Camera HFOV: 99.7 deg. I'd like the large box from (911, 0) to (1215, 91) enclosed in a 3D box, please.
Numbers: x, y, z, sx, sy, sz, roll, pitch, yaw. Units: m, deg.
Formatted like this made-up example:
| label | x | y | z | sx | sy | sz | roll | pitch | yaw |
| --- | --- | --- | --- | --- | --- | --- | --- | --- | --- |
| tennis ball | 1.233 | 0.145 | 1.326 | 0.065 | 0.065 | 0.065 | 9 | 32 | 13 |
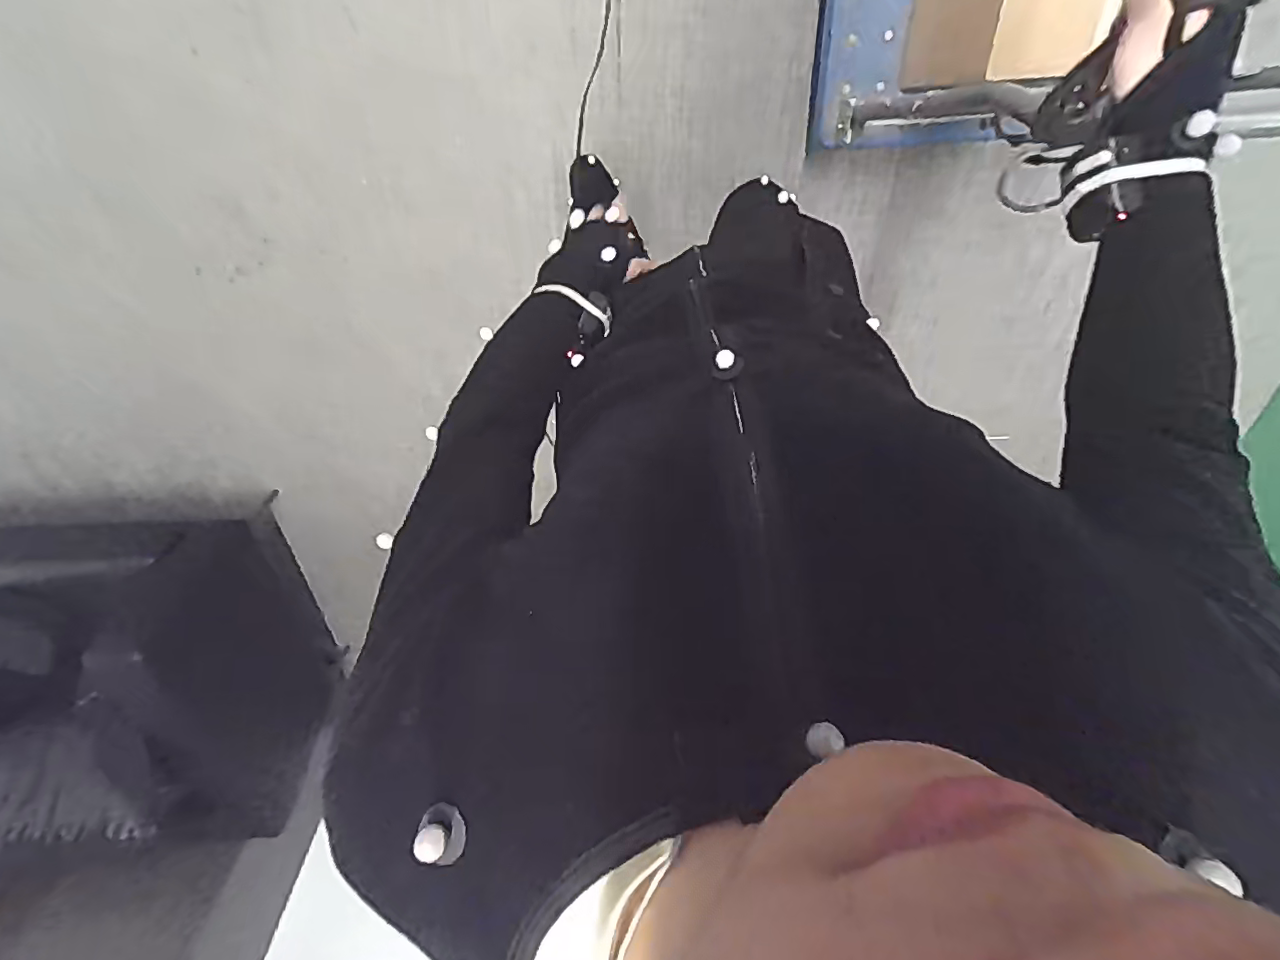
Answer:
| label | x | y | z | sx | sy | sz | roll | pitch | yaw |
| --- | --- | --- | --- | --- | --- | --- | --- | --- | --- |
| large box | 0.675 | -0.873 | 0.846 | 0.320 | 0.320 | 0.408 | -4 | 124 | 0 |
